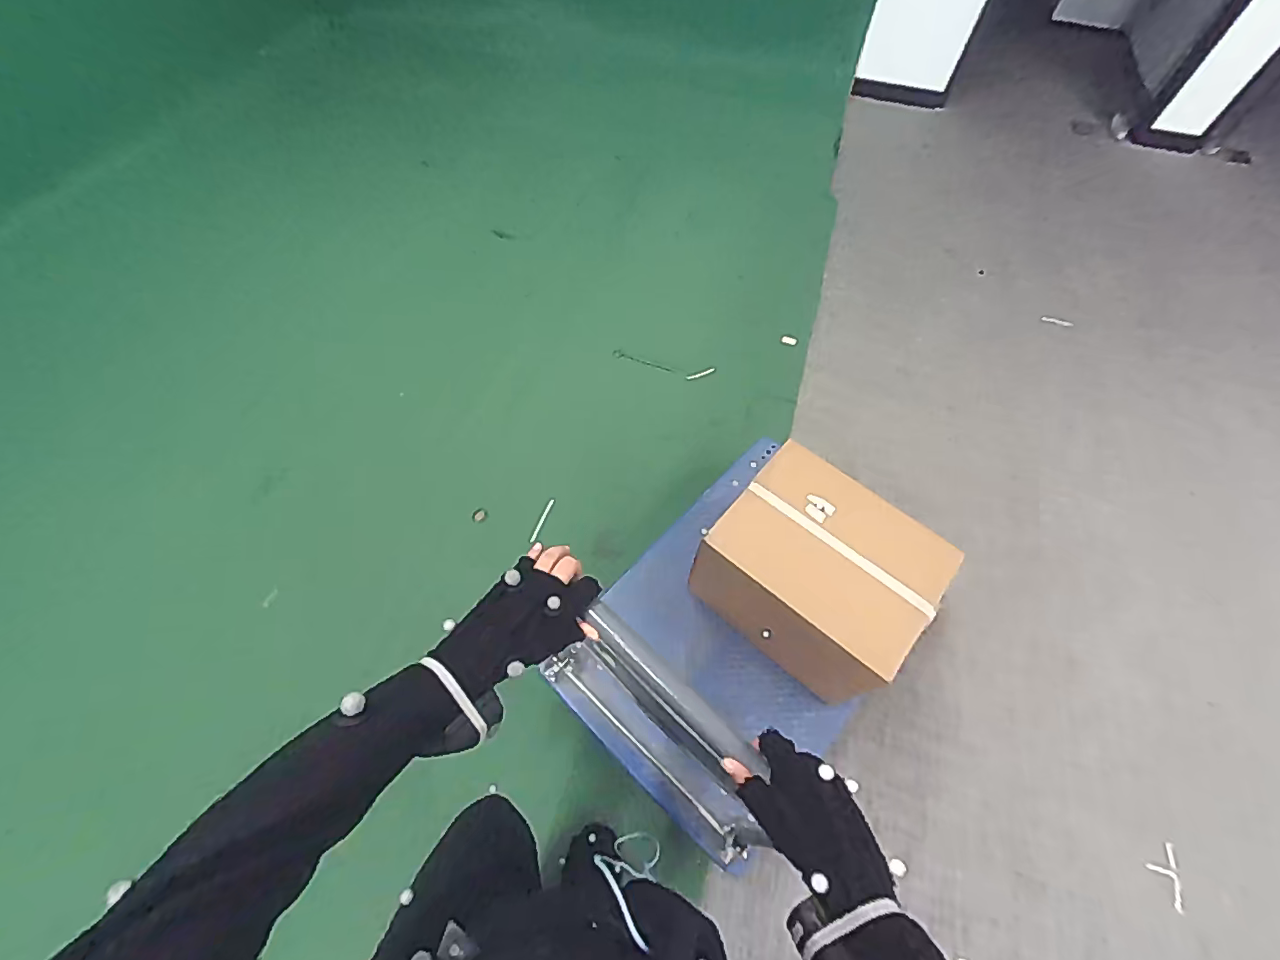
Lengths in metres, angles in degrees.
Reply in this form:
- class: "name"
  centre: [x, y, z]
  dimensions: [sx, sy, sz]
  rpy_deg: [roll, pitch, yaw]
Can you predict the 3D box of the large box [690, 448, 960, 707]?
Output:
- class: "large box"
  centre: [0.364, 0.214, 1.160]
  dimensions: [0.408, 0.320, 0.320]
  rpy_deg: [37, 65, 19]
